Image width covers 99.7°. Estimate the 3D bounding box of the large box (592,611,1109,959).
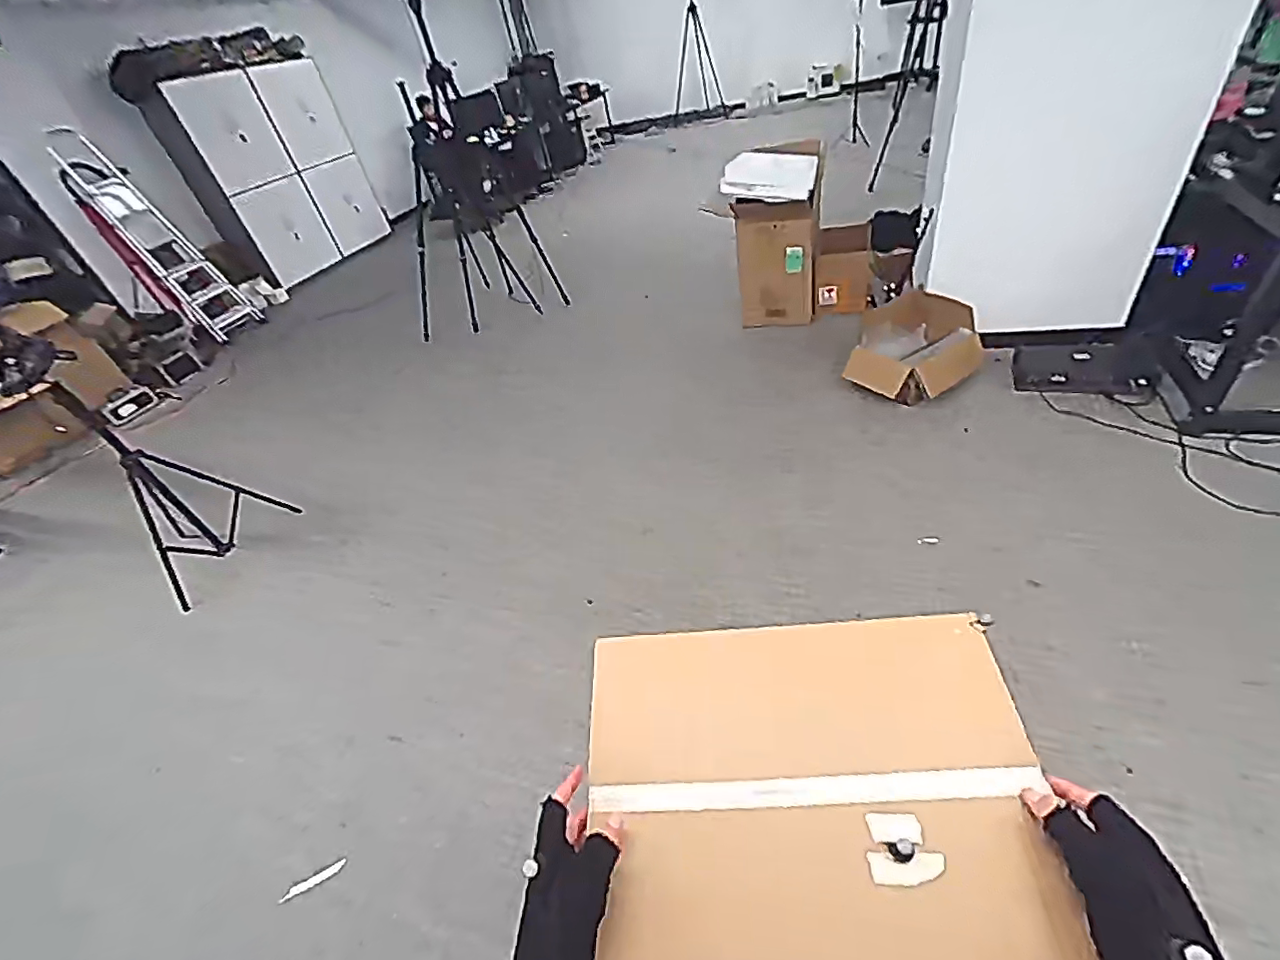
[{"bbox_3d":[0.170,0.375,0.617,0.408,0.320,0.320,-6,52,5],"label":"large box"}]
